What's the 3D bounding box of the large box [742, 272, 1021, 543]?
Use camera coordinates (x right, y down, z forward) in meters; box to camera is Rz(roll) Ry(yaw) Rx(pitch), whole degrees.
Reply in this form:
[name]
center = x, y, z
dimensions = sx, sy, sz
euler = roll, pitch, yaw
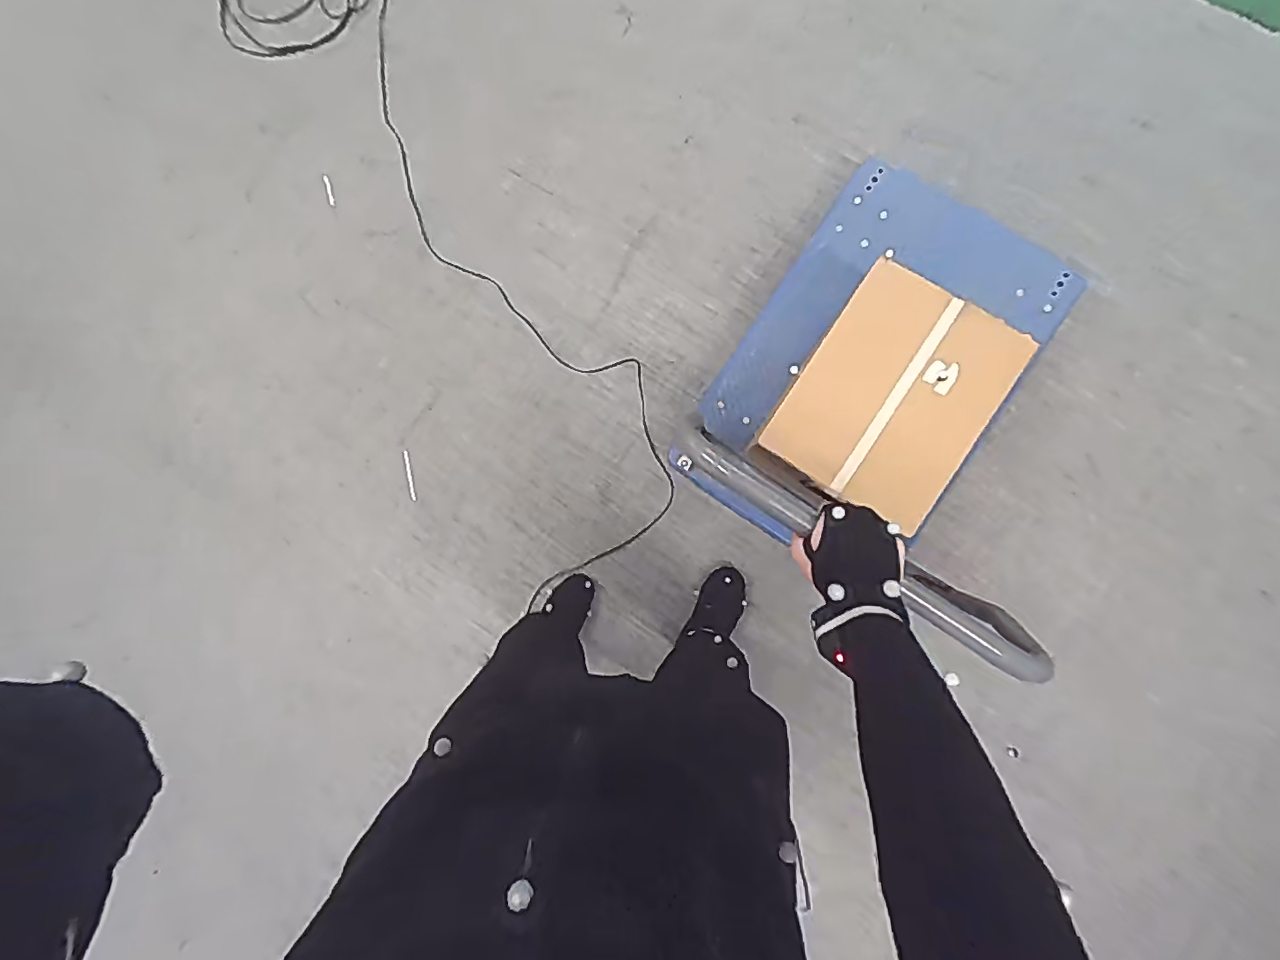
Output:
[large box]
center = 0.451, -0.120, 1.108
dimensions = 0.320, 0.320, 0.408
euler = 33, 89, 6
